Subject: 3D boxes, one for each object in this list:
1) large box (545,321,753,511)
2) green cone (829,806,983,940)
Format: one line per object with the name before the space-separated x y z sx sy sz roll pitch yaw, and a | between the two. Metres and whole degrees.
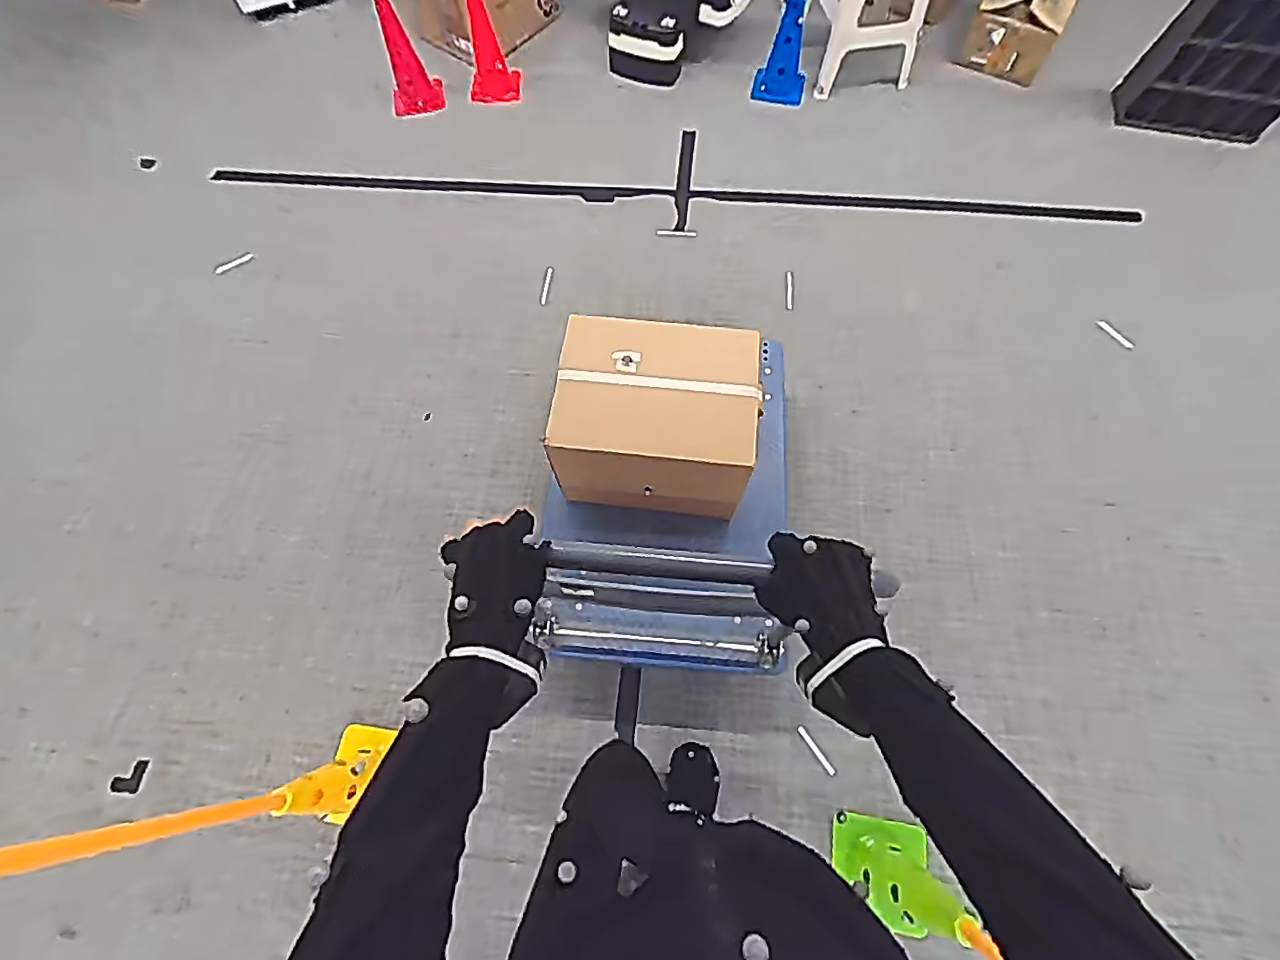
large box | 0.033 -0.130 1.230 0.408 0.320 0.320 6 68 4
green cone | 0.510 0.765 1.006 0.202 0.368 0.200 9 68 3
